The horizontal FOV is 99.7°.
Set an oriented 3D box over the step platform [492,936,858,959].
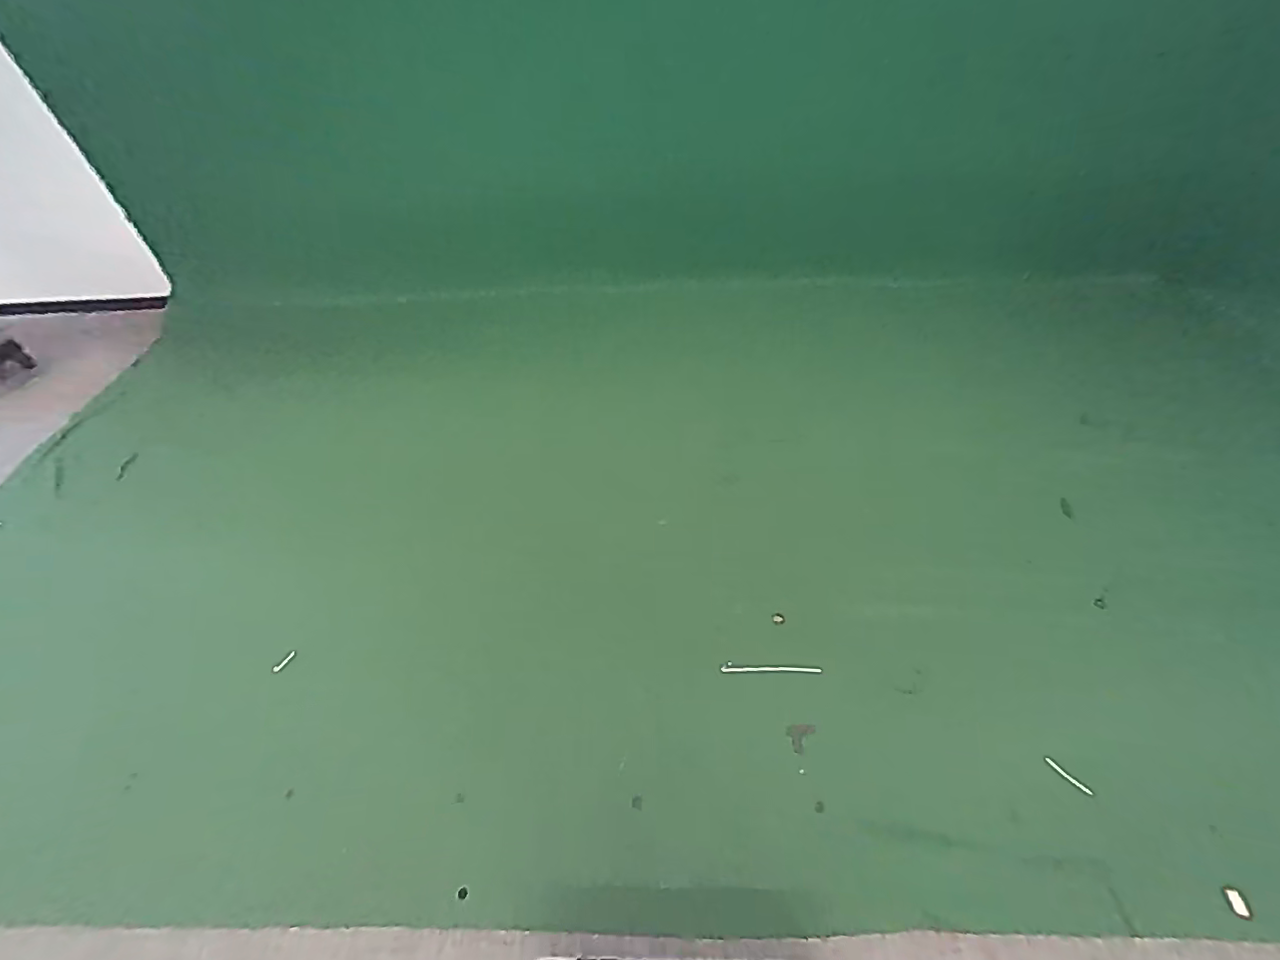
[{"bbox_3d":[0.063,1.001,0.962,0.684,0.204,0.286,-2,48,2],"label":"step platform"}]
